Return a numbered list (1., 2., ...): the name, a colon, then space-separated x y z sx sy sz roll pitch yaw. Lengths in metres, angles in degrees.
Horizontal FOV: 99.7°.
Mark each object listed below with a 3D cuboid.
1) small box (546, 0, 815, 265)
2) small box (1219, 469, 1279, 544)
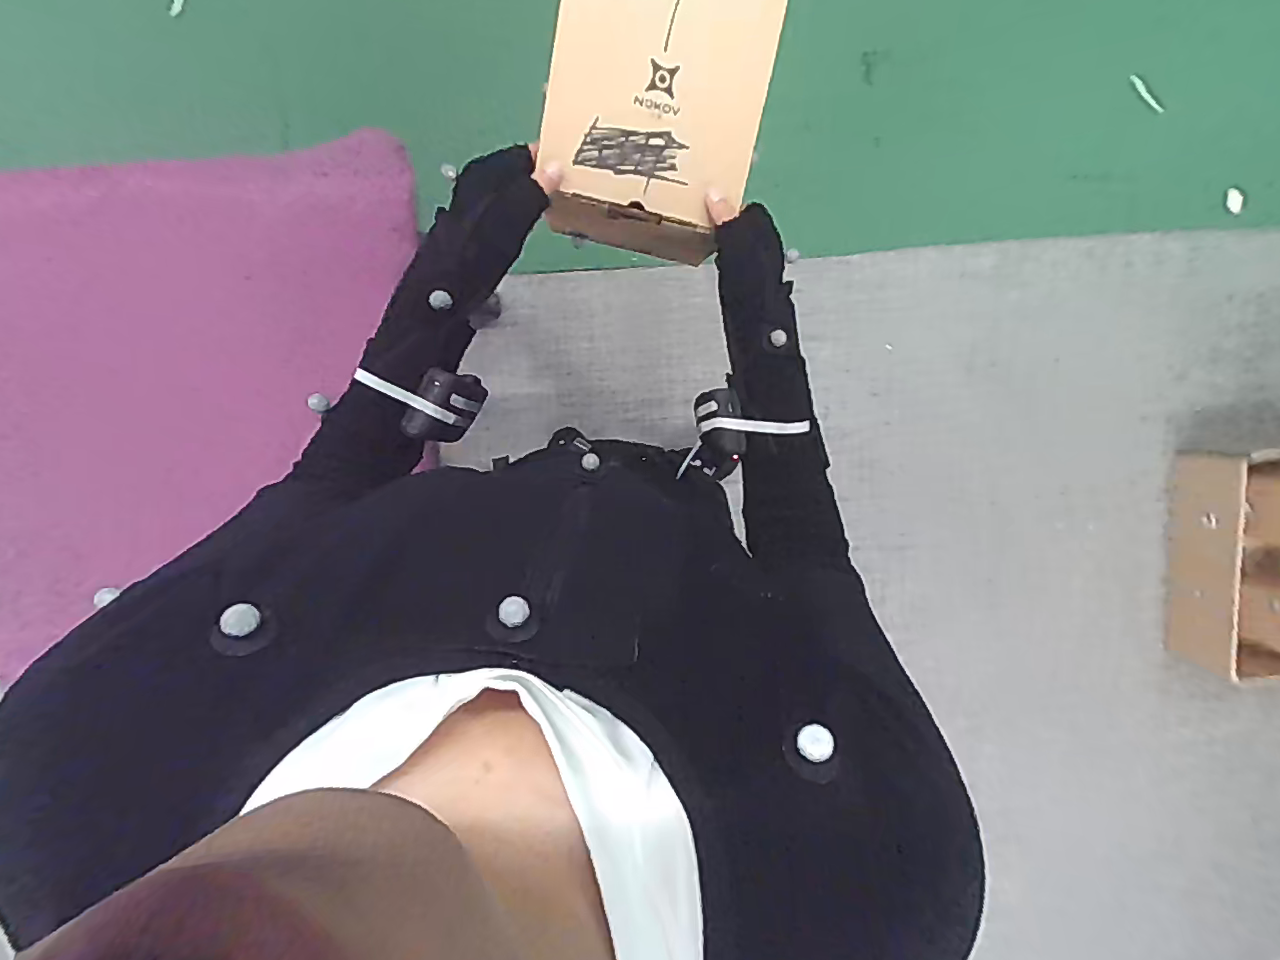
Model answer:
1. small box: 0.022 -0.308 0.483 0.168 0.176 0.179 15 103 -10
2. small box: 1.697 0.067 1.415 0.179 0.176 0.168 -5 99 -2
